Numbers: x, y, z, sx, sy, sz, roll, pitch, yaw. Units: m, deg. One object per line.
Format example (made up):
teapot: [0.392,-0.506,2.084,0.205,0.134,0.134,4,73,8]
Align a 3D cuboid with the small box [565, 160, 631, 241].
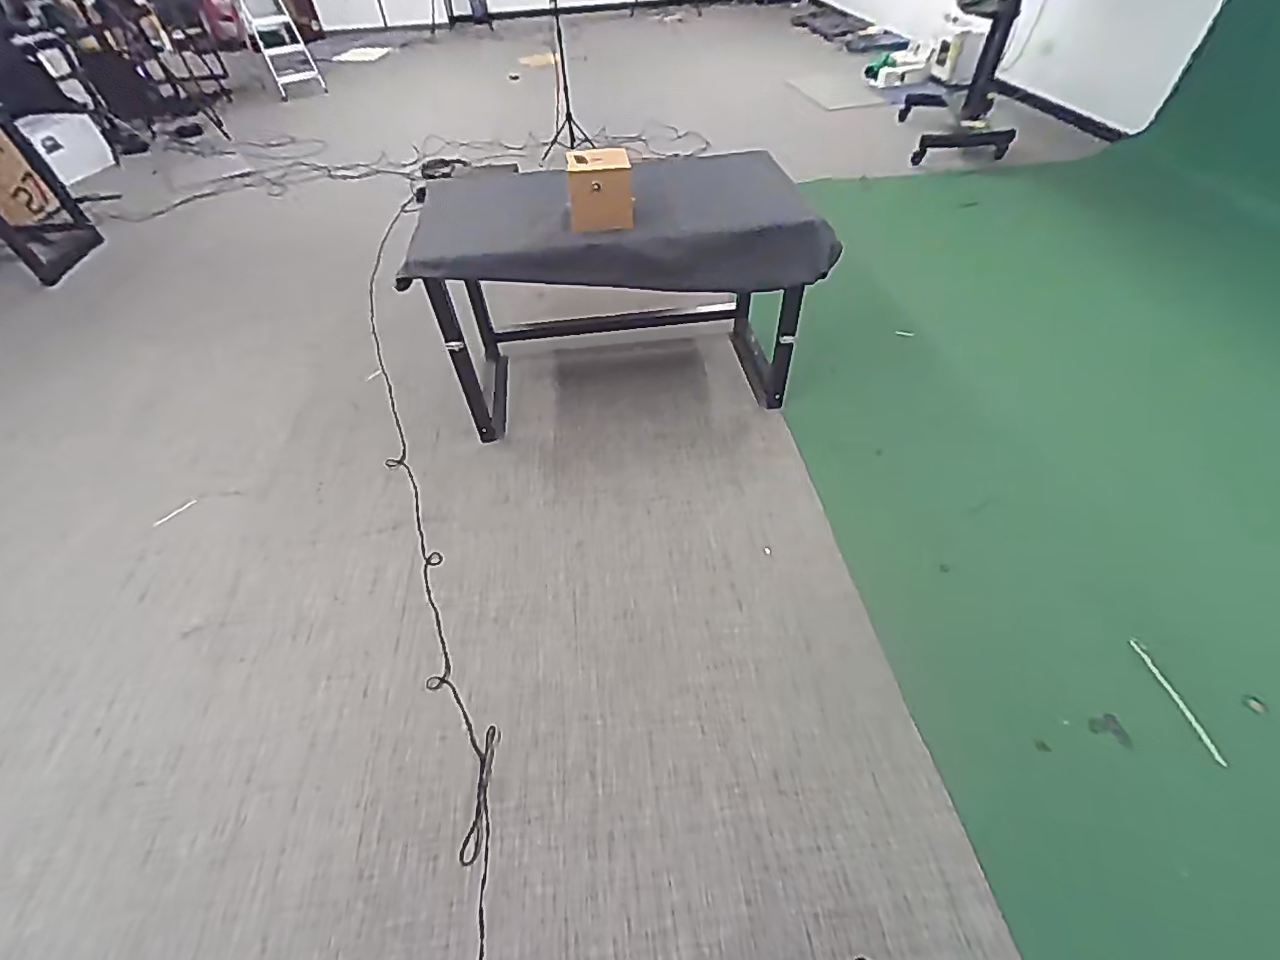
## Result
small box: [-0.123,-0.825,1.602,0.179,0.176,0.168,-6,48,-3]
